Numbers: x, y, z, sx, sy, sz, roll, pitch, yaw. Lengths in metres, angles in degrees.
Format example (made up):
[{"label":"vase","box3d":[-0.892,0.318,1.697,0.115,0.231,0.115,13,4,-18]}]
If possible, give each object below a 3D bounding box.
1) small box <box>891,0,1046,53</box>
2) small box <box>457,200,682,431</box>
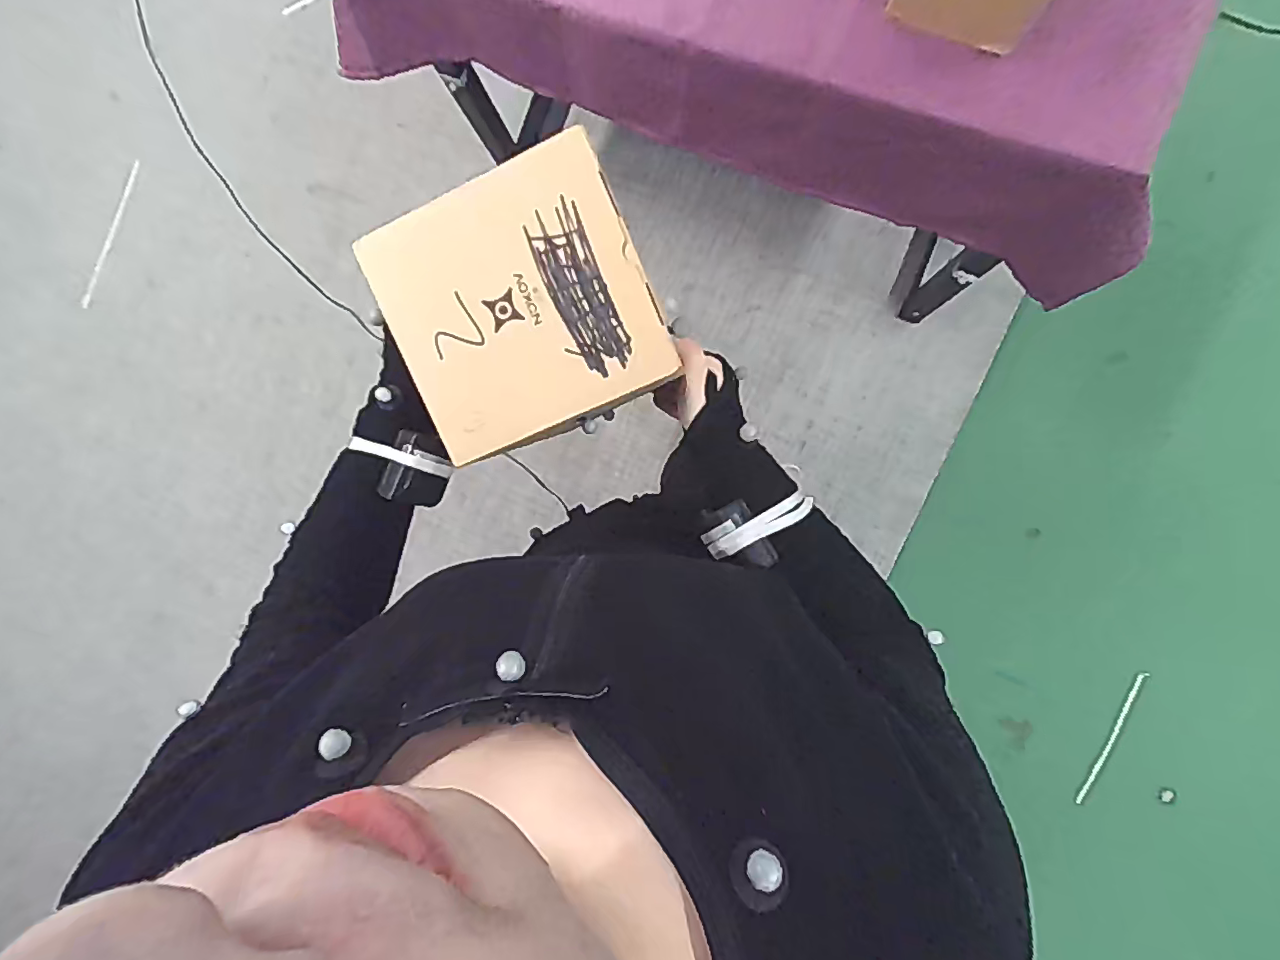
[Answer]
[{"label":"small box","box3d":[0.433,-0.663,0.637,0.179,0.176,0.168,28,94,5]},{"label":"small box","box3d":[-0.061,-0.166,0.601,0.179,0.176,0.168,-26,96,8]}]
